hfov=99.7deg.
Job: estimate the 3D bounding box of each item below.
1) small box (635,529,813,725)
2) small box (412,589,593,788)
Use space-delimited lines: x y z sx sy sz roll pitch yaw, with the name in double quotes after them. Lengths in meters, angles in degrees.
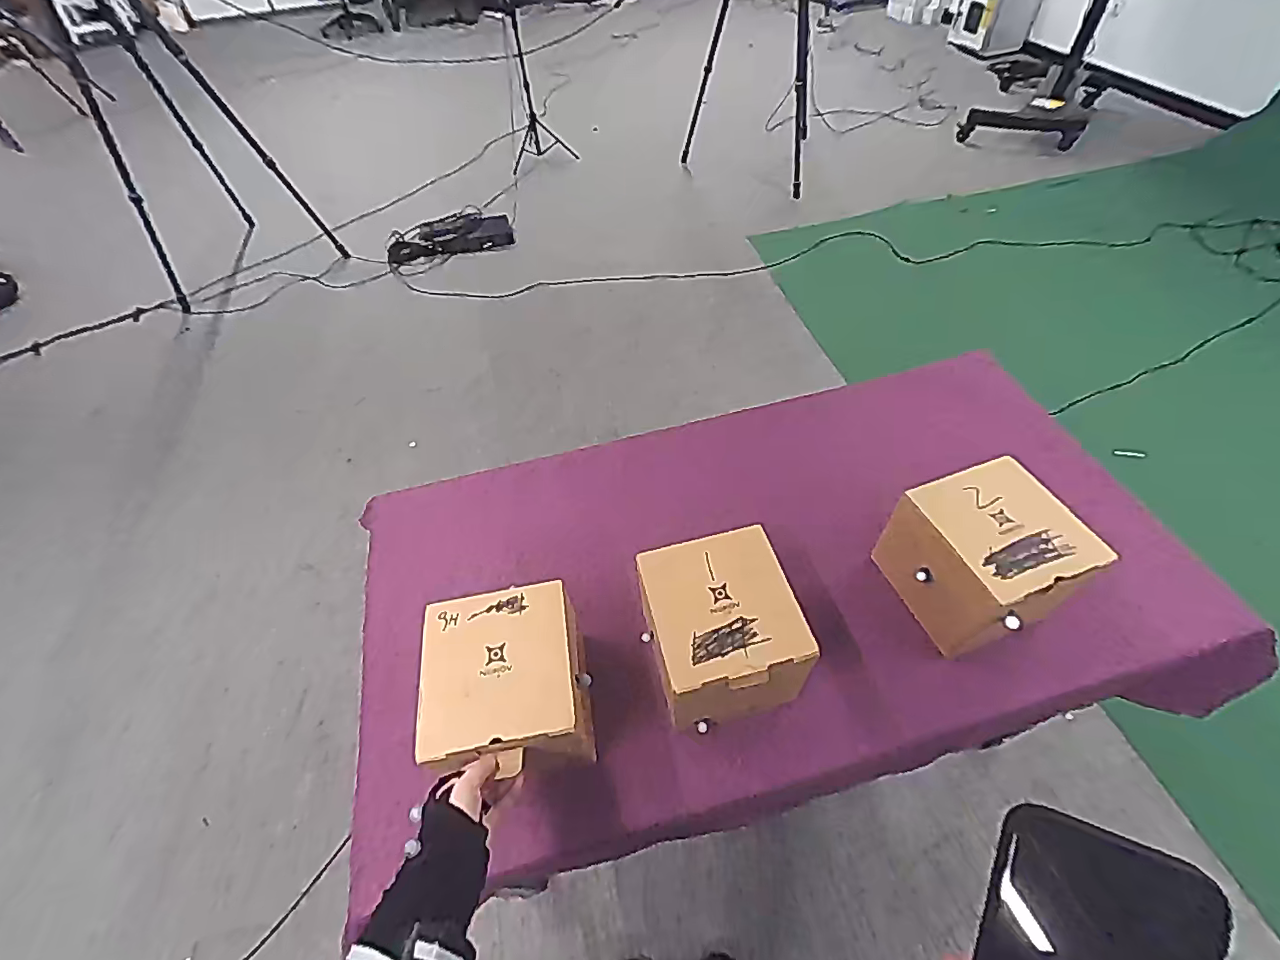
0.097 0.193 0.686 0.168 0.176 0.179 -13 51 -6 "small box"
-0.155 0.258 0.654 0.168 0.176 0.179 -10 52 -3 "small box"
